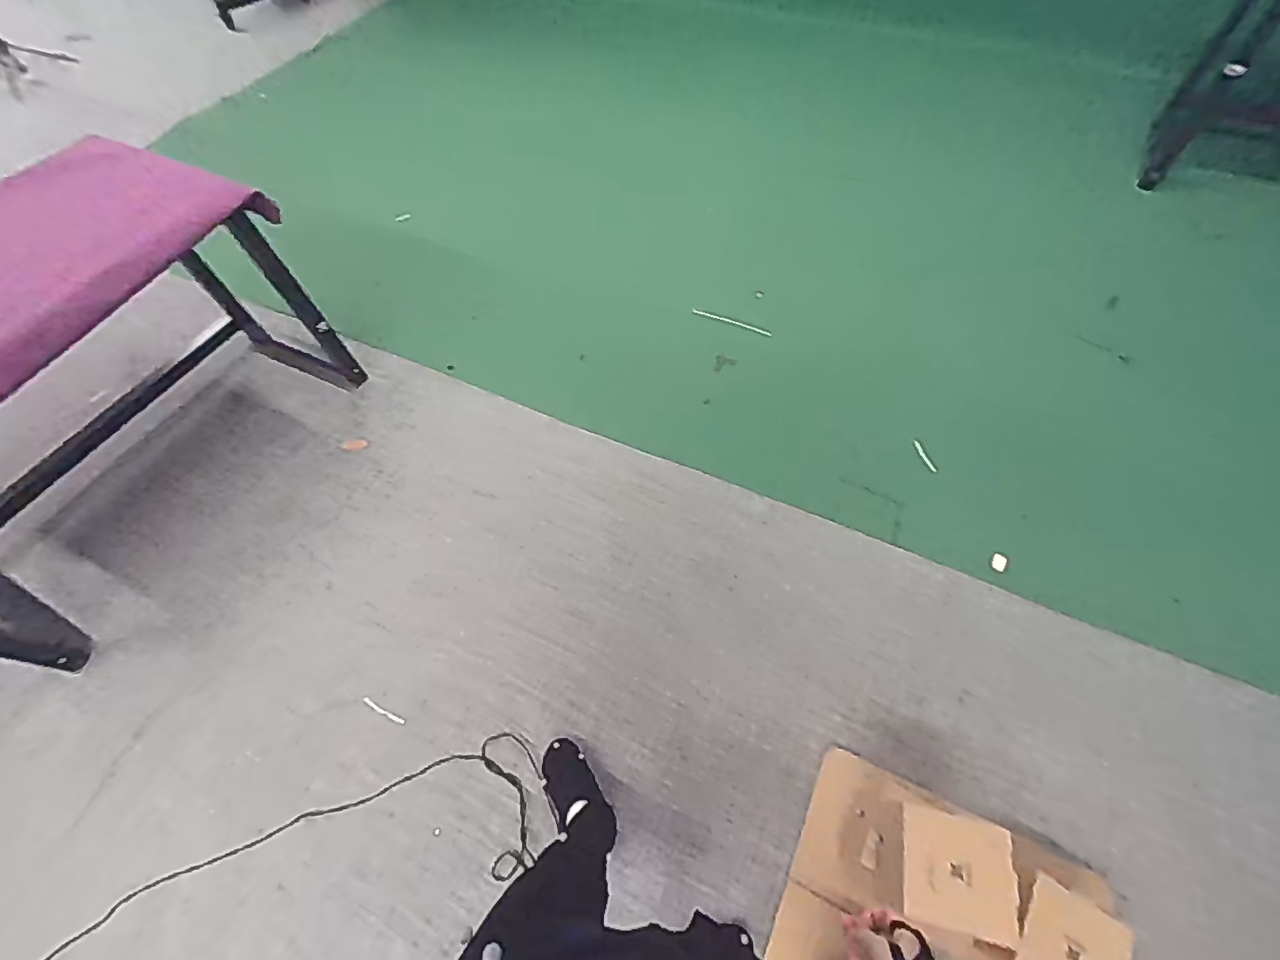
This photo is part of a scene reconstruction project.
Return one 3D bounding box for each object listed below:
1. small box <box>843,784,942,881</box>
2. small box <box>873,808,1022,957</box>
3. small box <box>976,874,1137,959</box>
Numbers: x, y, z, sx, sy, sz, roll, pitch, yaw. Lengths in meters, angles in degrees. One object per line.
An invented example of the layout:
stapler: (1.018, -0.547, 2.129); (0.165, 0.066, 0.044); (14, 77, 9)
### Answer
small box: (0.540, 0.755, 1.106); (0.179, 0.176, 0.168); (27, 66, 18)
small box: (0.531, 0.692, 0.953); (0.179, 0.176, 0.168); (11, 61, 10)
small box: (0.771, 0.879, 1.017); (0.168, 0.176, 0.179); (28, 65, 18)
